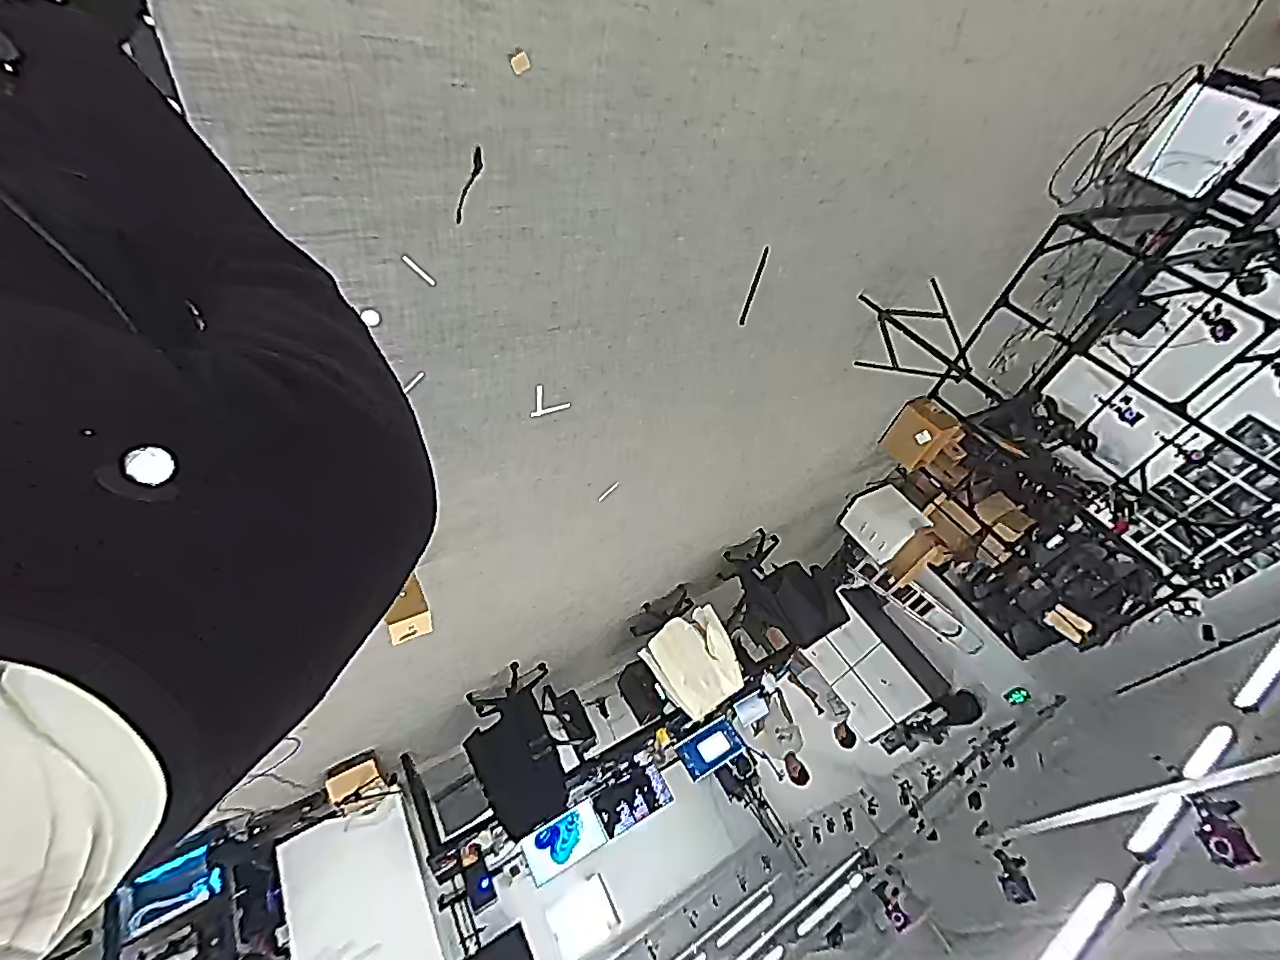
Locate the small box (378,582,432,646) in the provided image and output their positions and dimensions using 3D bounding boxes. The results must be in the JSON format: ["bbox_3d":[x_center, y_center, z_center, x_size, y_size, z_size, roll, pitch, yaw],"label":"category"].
[{"bbox_3d":[-0.988,0.562,2.279,0.168,0.176,0.179,-18,144,-30],"label":"small box"}]
